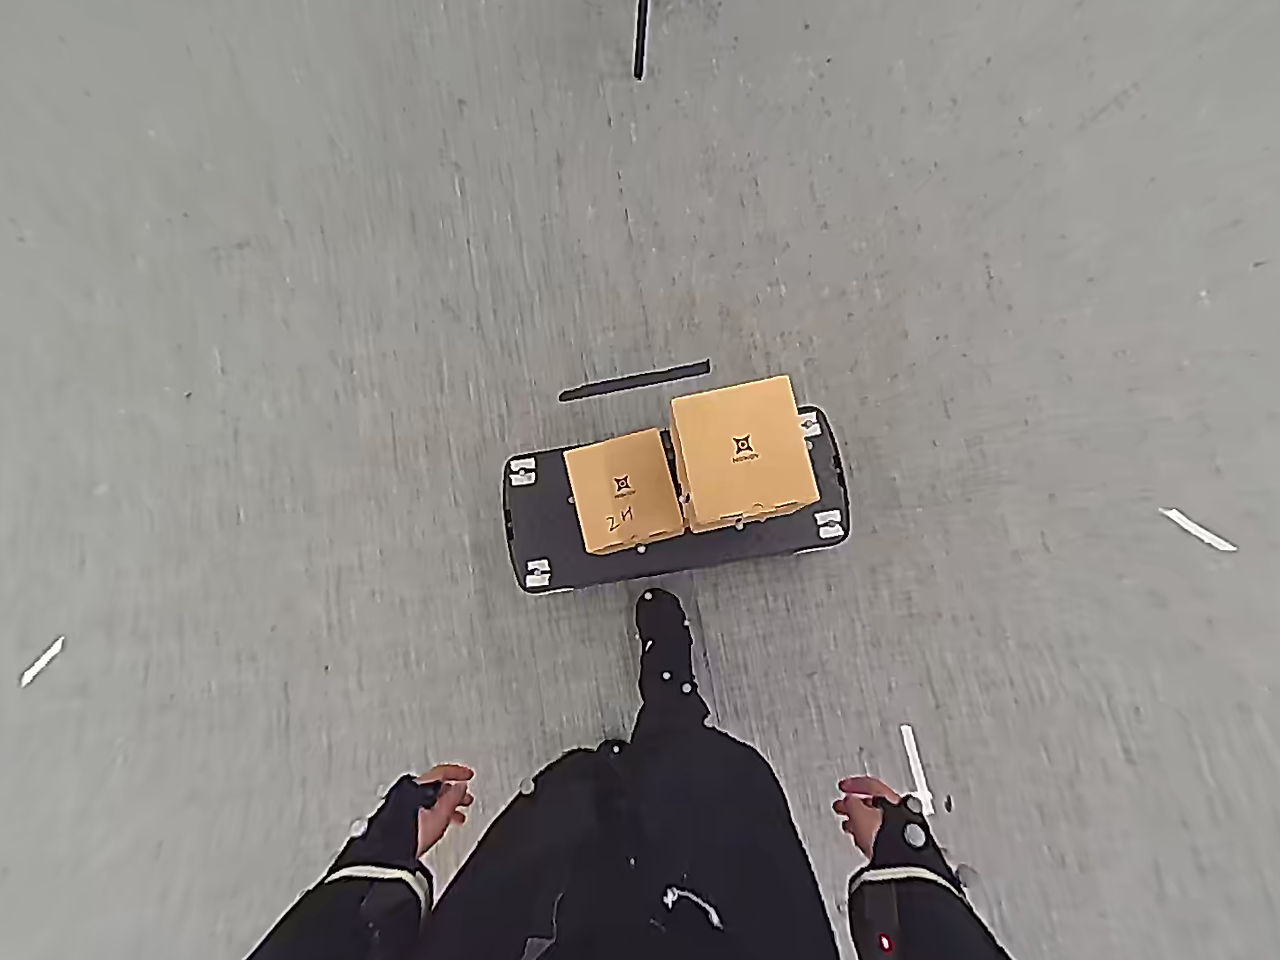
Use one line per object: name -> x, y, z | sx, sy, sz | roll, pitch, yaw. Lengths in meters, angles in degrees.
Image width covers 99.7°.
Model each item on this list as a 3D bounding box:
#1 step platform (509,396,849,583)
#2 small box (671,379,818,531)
step platform -> 0.075, 0.026, 1.140 | 0.684, 0.204, 0.286 | -10, 80, 2
small box -> 0.142, -0.028, 0.804 | 0.168, 0.176, 0.179 | -12, 81, 1
